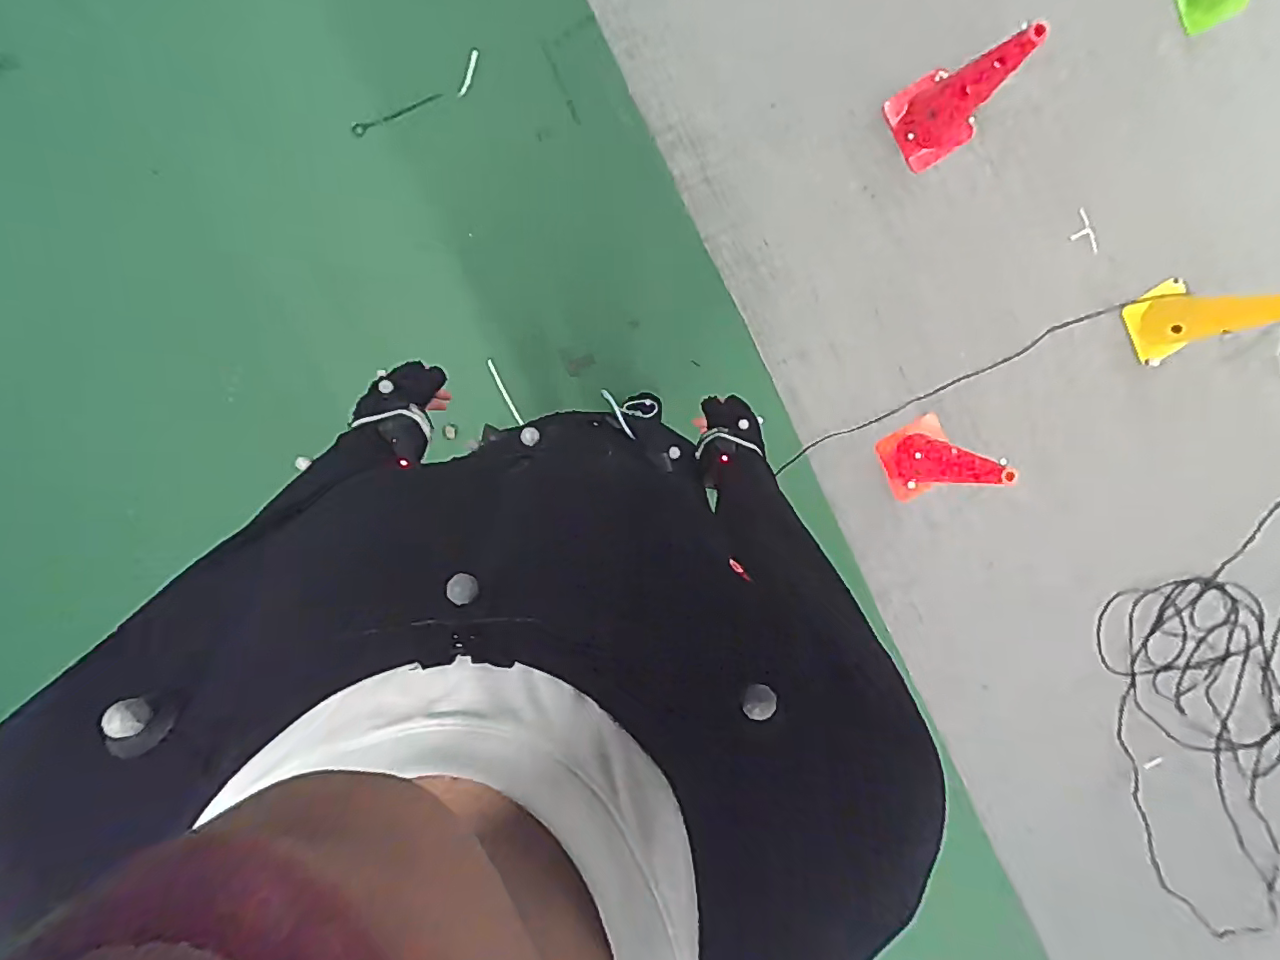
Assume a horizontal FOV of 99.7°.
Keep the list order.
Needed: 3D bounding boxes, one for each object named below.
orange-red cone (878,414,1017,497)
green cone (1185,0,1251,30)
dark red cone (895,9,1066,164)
[{"bbox_3d":[0.817,-0.042,1.393,0.199,0.360,0.198,-28,102,-1],"label":"orange-red cone"},{"bbox_3d":[1.538,-1.297,1.259,0.200,0.368,0.202,-30,102,0],"label":"green cone"},{"bbox_3d":[0.781,-0.917,1.223,0.201,0.394,0.202,-34,101,2],"label":"dark red cone"}]
